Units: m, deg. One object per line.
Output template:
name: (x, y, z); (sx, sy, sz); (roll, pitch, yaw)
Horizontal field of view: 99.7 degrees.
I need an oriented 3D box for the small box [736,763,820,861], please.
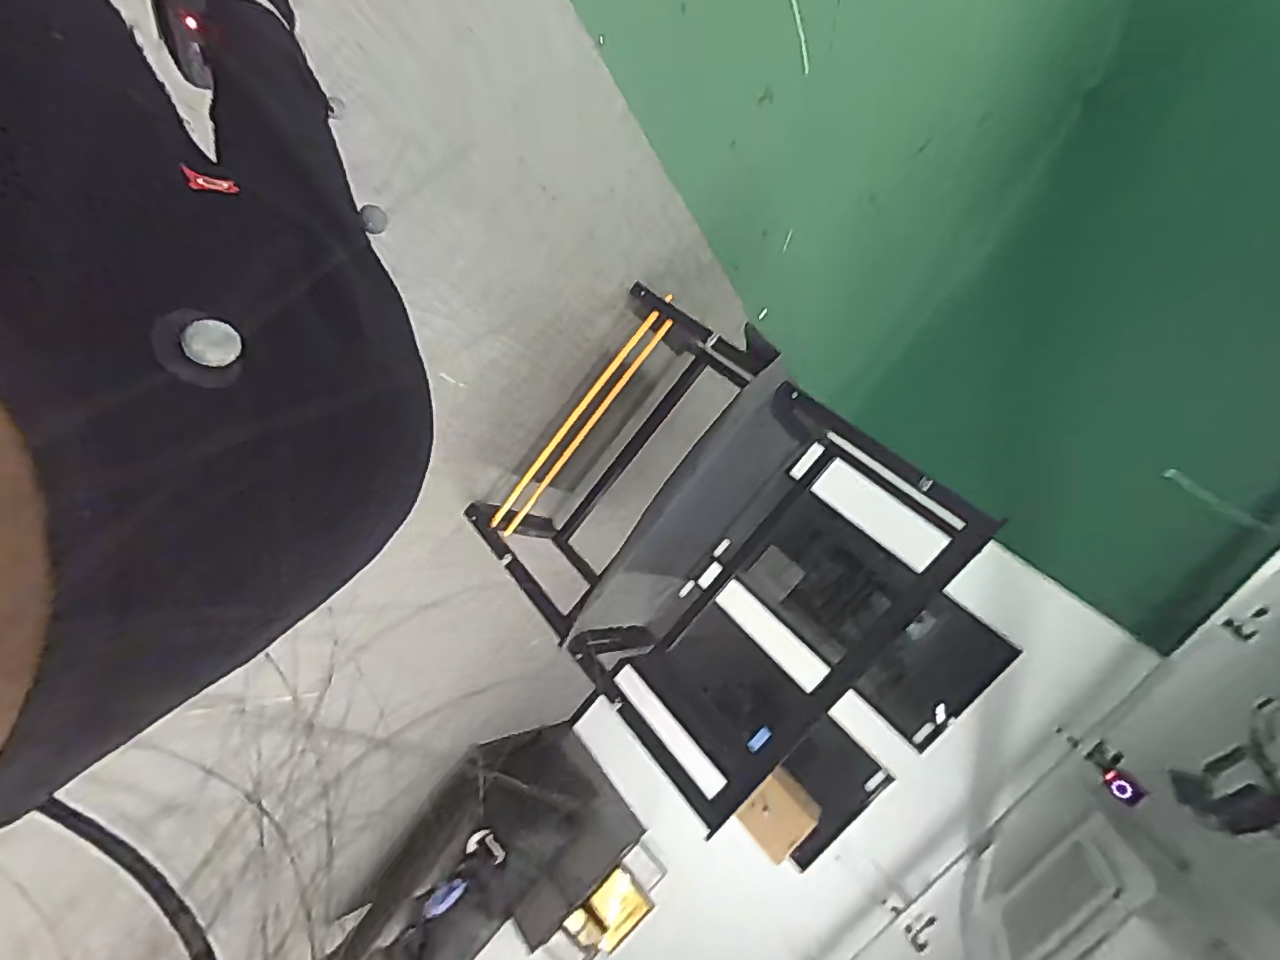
small box: (0.411, 0.977, 1.612); (0.168, 0.176, 0.179); (-49, 152, 1)
